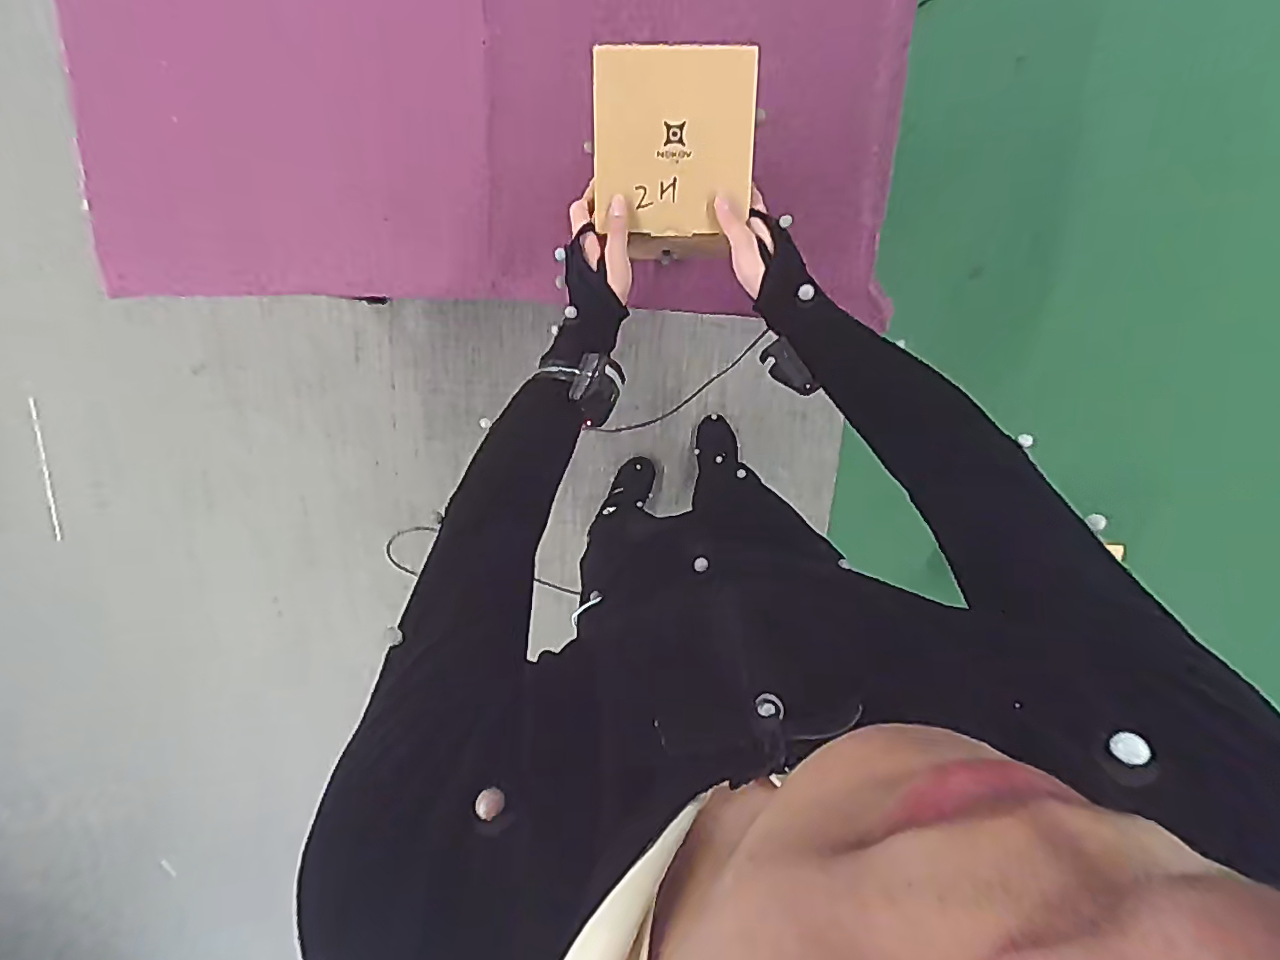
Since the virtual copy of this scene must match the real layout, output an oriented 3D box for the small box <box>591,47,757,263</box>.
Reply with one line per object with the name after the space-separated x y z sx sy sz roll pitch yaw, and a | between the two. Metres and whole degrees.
0.032 -0.361 0.632 0.168 0.176 0.179 2 105 1 | small box
